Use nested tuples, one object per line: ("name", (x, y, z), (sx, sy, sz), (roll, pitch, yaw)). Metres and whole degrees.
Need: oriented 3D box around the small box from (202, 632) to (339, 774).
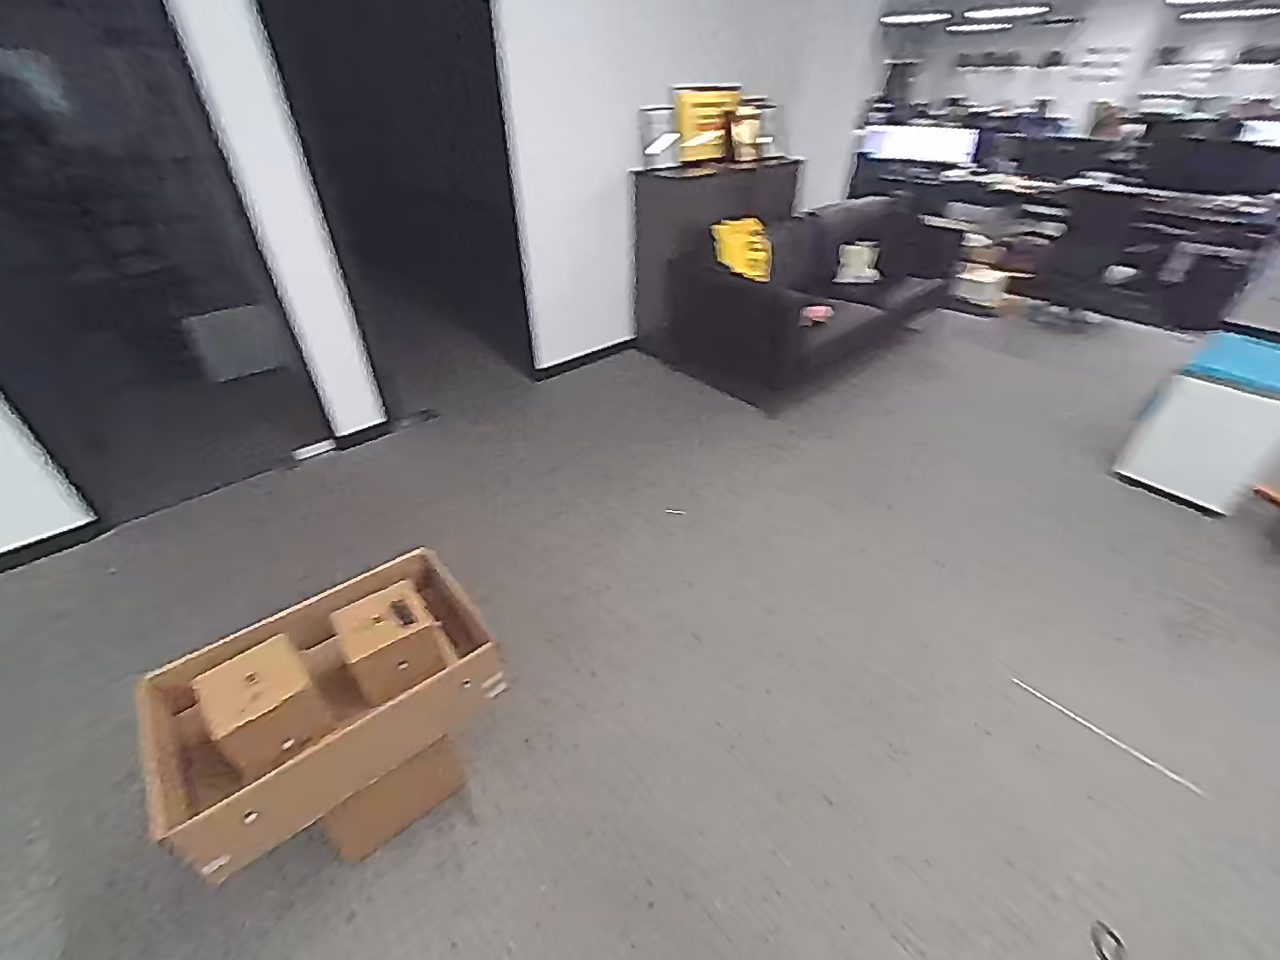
("small box", (-0.759, 0.459, 1.119), (0.168, 0.176, 0.179), (-29, 46, -34))
